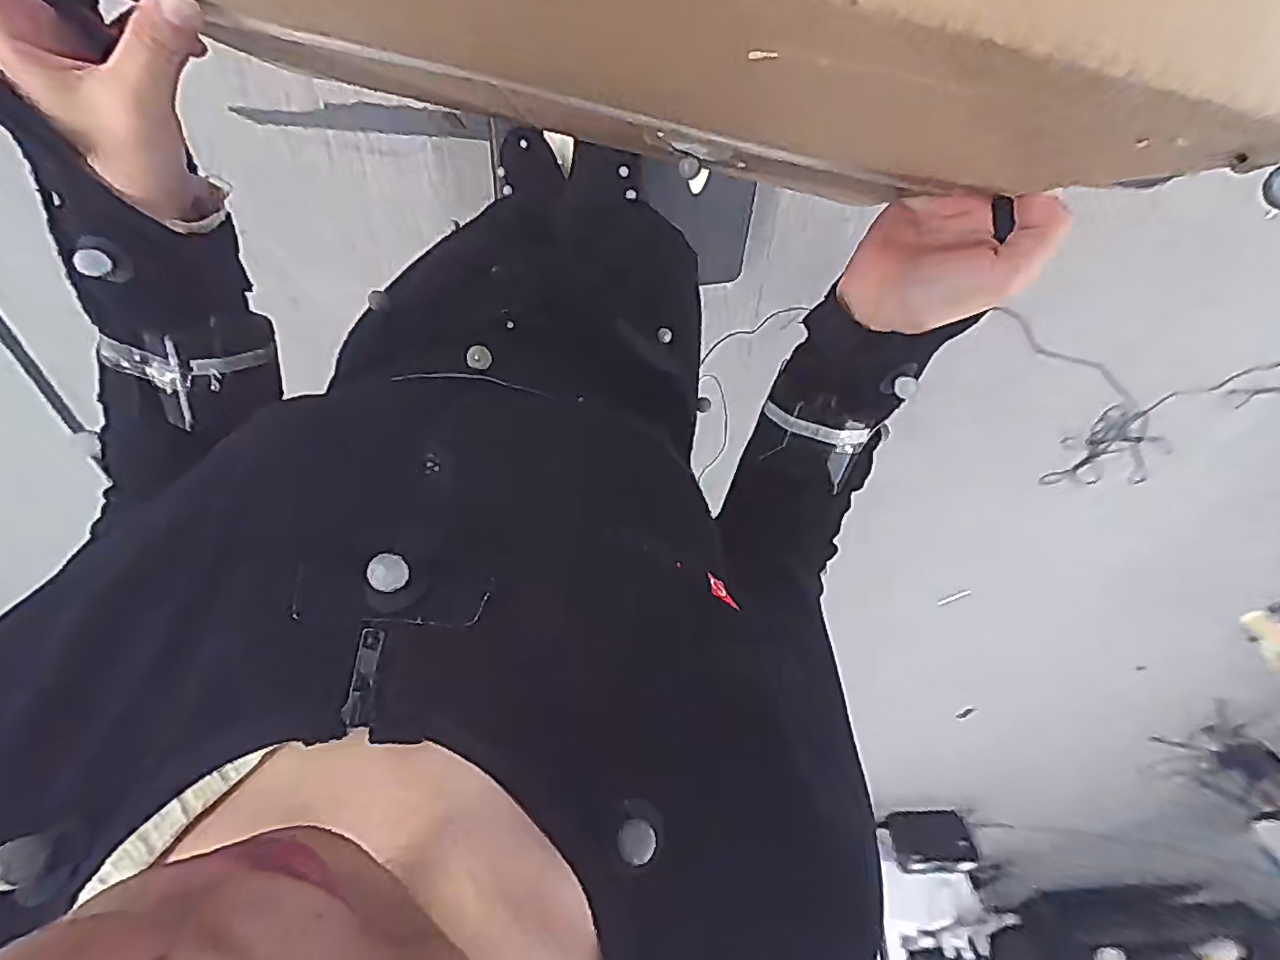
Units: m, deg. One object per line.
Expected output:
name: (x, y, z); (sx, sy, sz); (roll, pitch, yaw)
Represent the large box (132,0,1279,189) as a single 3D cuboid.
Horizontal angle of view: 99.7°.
large box: (-0.011, -0.315, 0.175); (0.408, 0.320, 0.320); (9, 116, -5)
